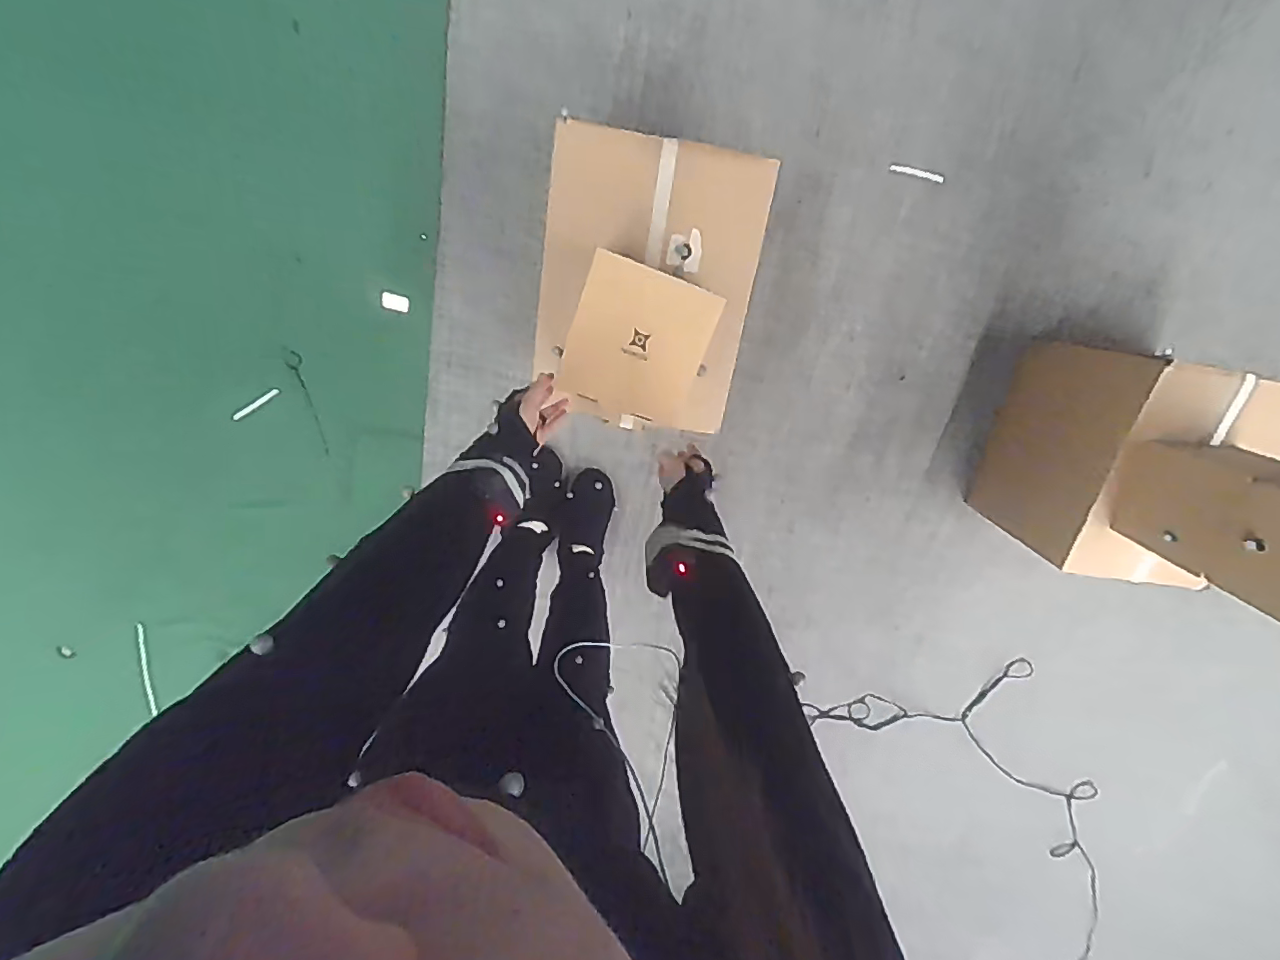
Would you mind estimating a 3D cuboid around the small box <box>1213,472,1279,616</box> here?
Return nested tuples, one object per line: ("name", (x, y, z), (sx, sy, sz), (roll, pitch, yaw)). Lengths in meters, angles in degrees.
("small box", (0.964, 0.103, 0.738), (0.168, 0.176, 0.179), (1, 114, -2))

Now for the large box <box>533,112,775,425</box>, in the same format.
("large box", (0.005, -0.343, 0.943), (0.320, 0.320, 0.408), (8, 111, -6))

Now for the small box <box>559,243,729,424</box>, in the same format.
("small box", (0.000, -0.203, 0.735), (0.168, 0.176, 0.179), (19, 111, -9))
